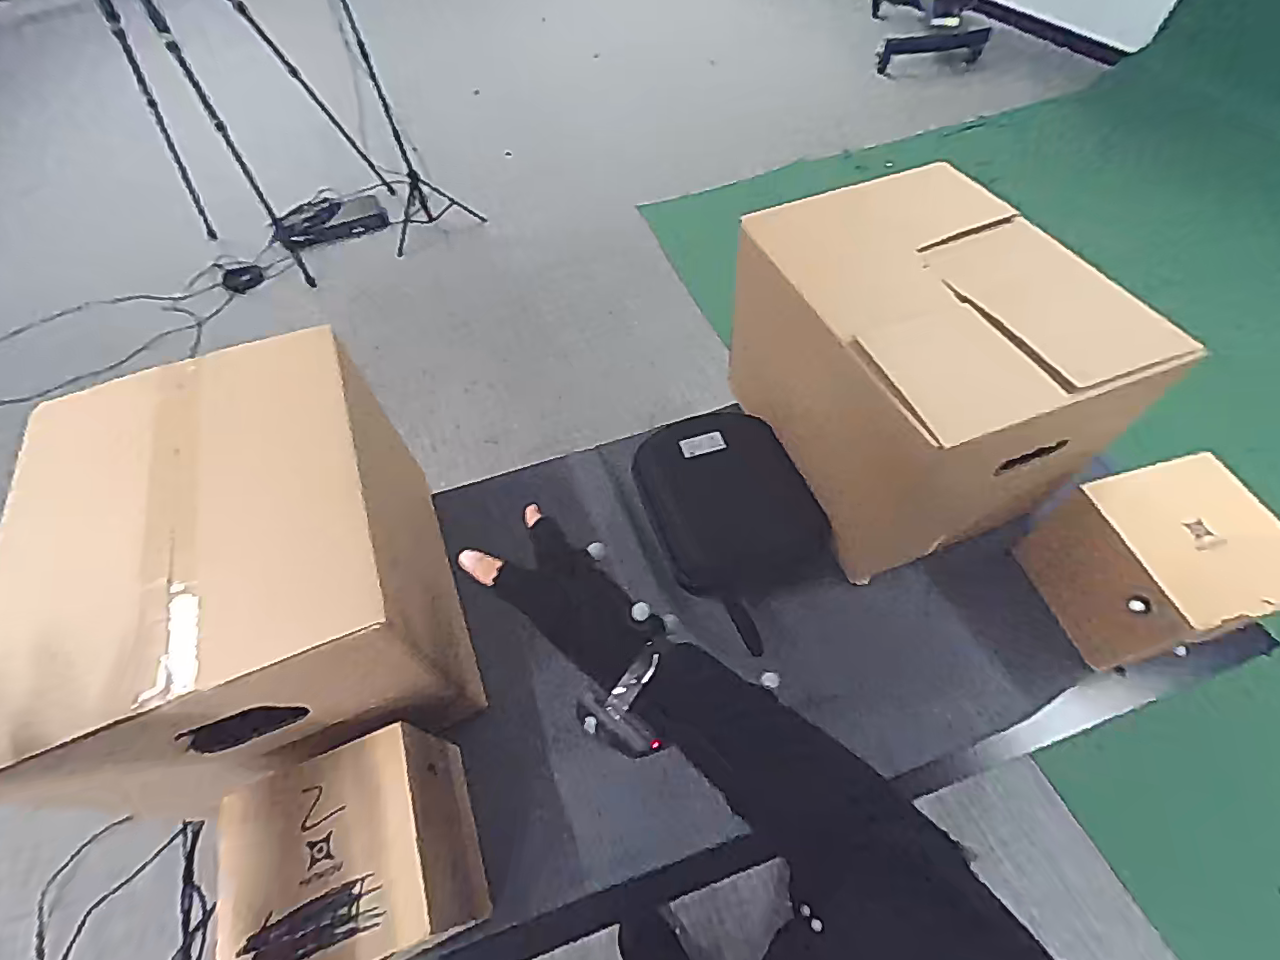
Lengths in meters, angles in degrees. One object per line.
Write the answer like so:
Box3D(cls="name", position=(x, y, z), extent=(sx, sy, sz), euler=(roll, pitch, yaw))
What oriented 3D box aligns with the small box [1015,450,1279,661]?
Box3D(cls="small box", position=(0.603, 0.094, 0.645), extent=(0.168, 0.176, 0.179), euler=(-14, 59, -3))
